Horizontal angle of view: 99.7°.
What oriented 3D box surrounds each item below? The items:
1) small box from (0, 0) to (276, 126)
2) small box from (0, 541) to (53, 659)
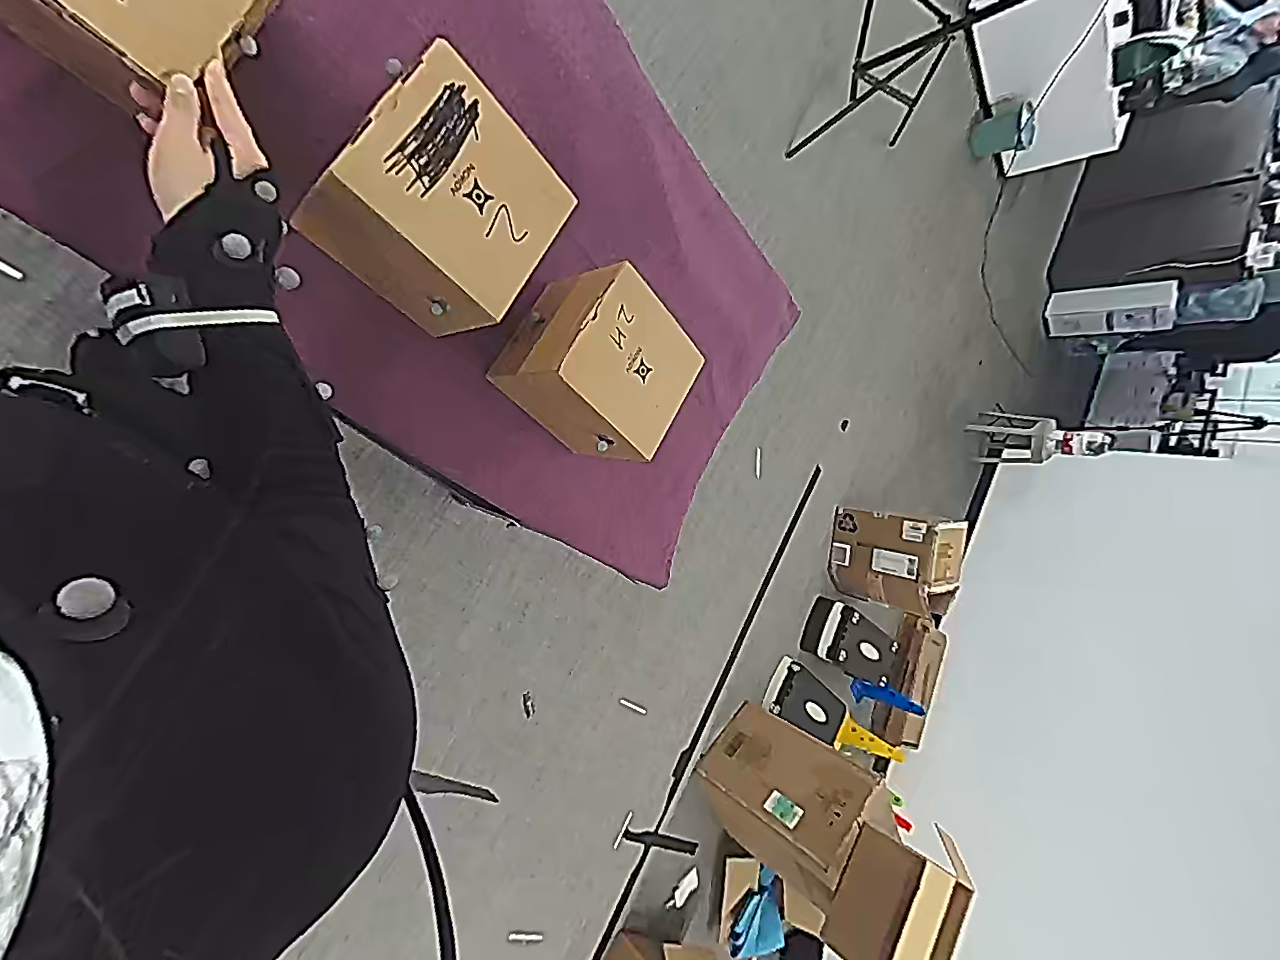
[{"bbox_3d":[-0.364,-0.388,0.372,0.168,0.176,0.179,36,78,-44],"label":"small box"},{"bbox_3d":[-1.036,0.185,0.817,0.179,0.176,0.168,13,65,-47],"label":"small box"}]
